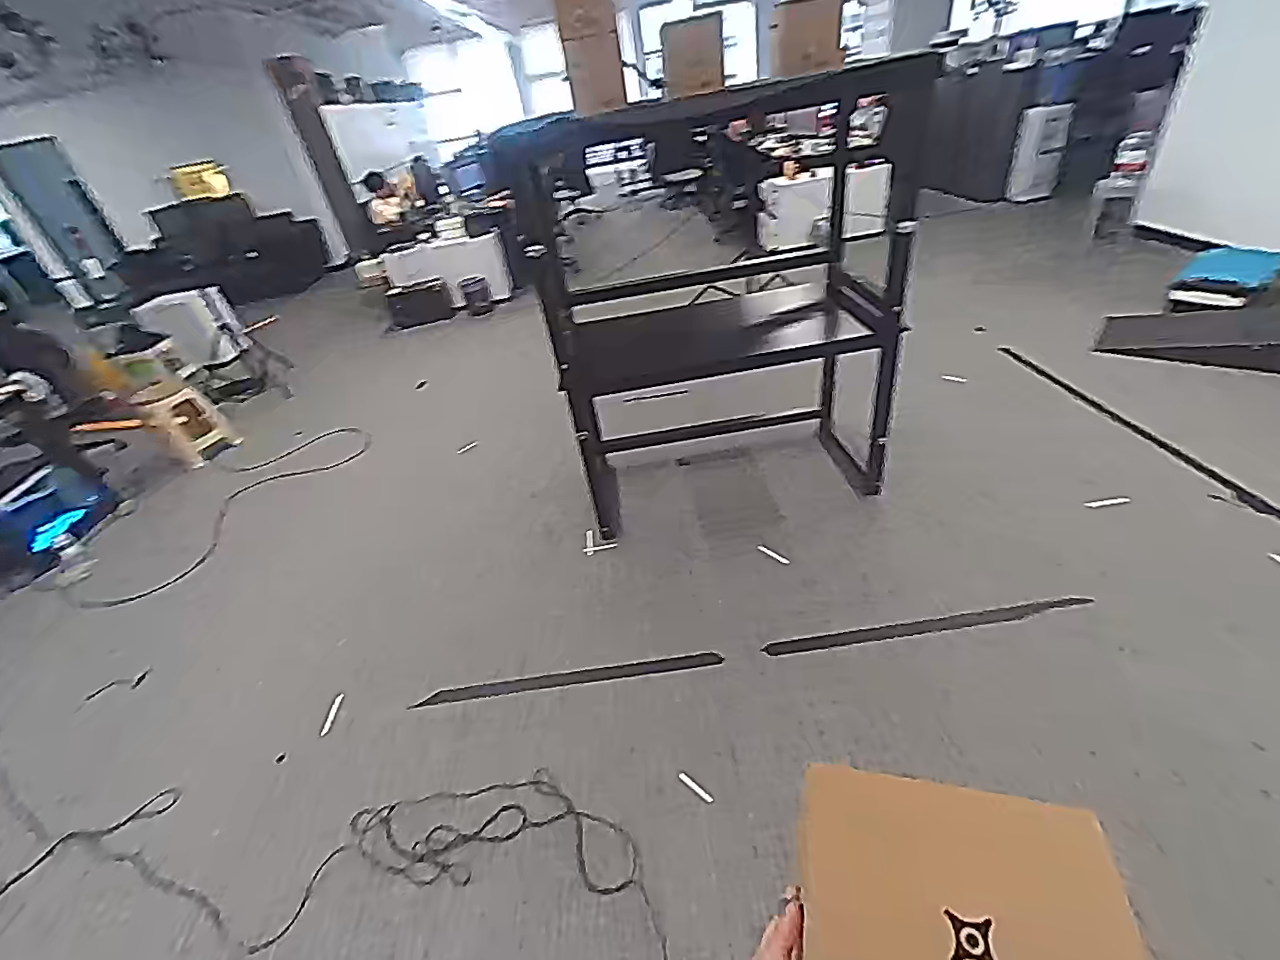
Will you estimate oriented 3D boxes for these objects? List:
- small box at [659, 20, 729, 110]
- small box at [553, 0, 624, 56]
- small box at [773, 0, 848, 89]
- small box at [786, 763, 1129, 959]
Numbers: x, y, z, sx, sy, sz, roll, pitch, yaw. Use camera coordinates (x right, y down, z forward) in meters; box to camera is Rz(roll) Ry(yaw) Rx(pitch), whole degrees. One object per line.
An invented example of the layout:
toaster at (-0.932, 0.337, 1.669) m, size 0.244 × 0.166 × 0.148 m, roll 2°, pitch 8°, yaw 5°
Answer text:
small box at (0.149, -1.138, 1.493) m, size 0.168 × 0.176 × 0.179 m, roll -8°, pitch 34°, yaw 1°
small box at (-0.138, -1.227, 1.408) m, size 0.168 × 0.176 × 0.179 m, roll -10°, pitch 35°, yaw 2°
small box at (0.459, -1.186, 1.481) m, size 0.168 × 0.176 × 0.179 m, roll -6°, pitch 35°, yaw 6°
small box at (0.179, 0.314, 0.338) m, size 0.168 × 0.176 × 0.179 m, roll 2°, pitch 40°, yaw 15°
